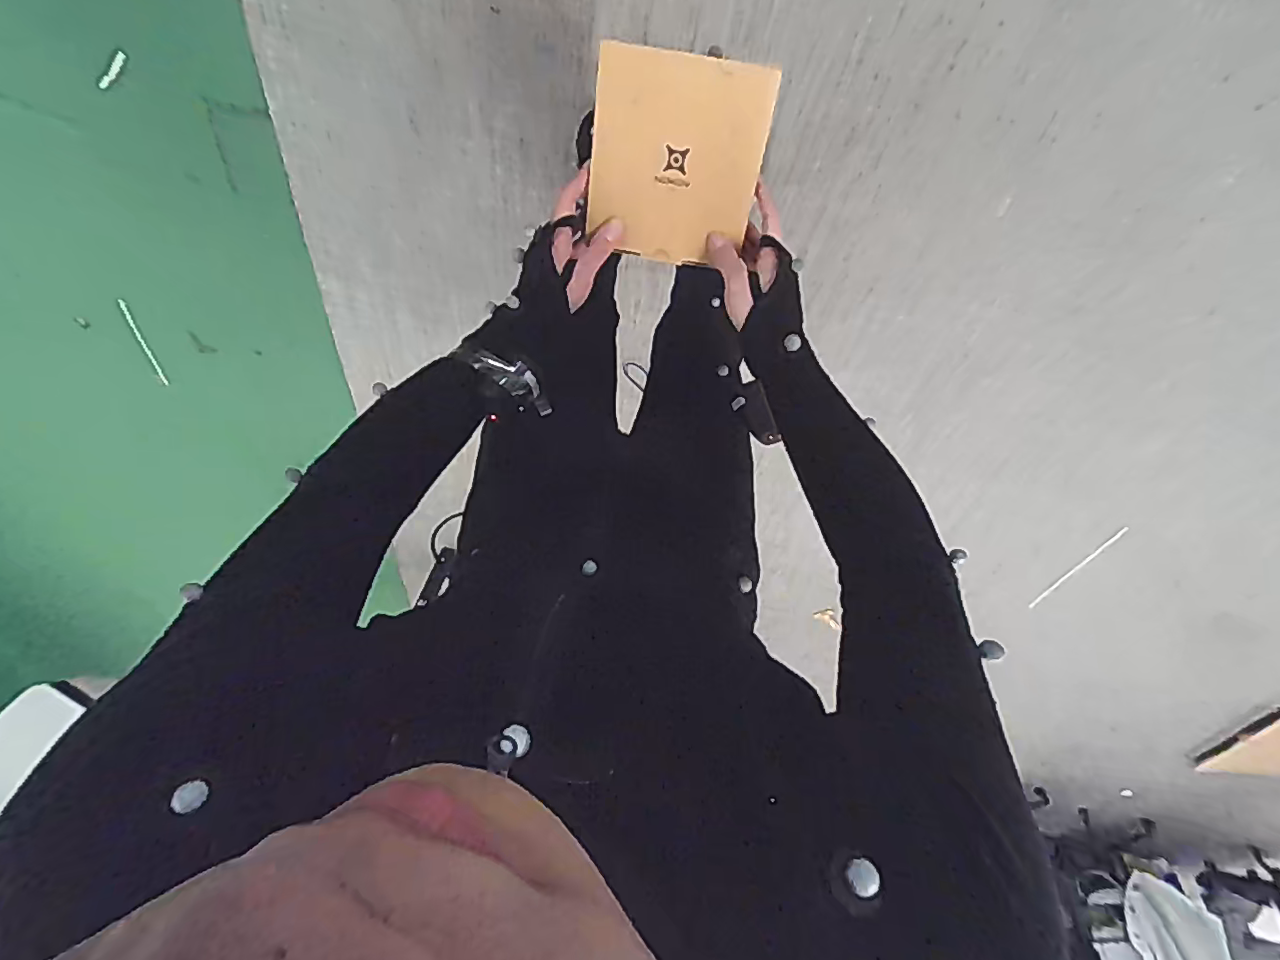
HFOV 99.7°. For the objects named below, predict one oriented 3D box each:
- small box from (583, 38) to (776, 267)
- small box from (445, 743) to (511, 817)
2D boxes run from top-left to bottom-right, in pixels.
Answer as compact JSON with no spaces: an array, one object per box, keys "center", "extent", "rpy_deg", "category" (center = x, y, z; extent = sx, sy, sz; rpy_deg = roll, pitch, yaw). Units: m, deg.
[{"center":[0.036,-0.357,0.598],"extent":[0.168,0.176,0.179],"rpy_deg":[9,125,-1],"category":"small box"},{"center":[-0.542,1.016,1.832],"extent":[0.168,0.176,0.179],"rpy_deg":[12,136,-1],"category":"small box"}]
